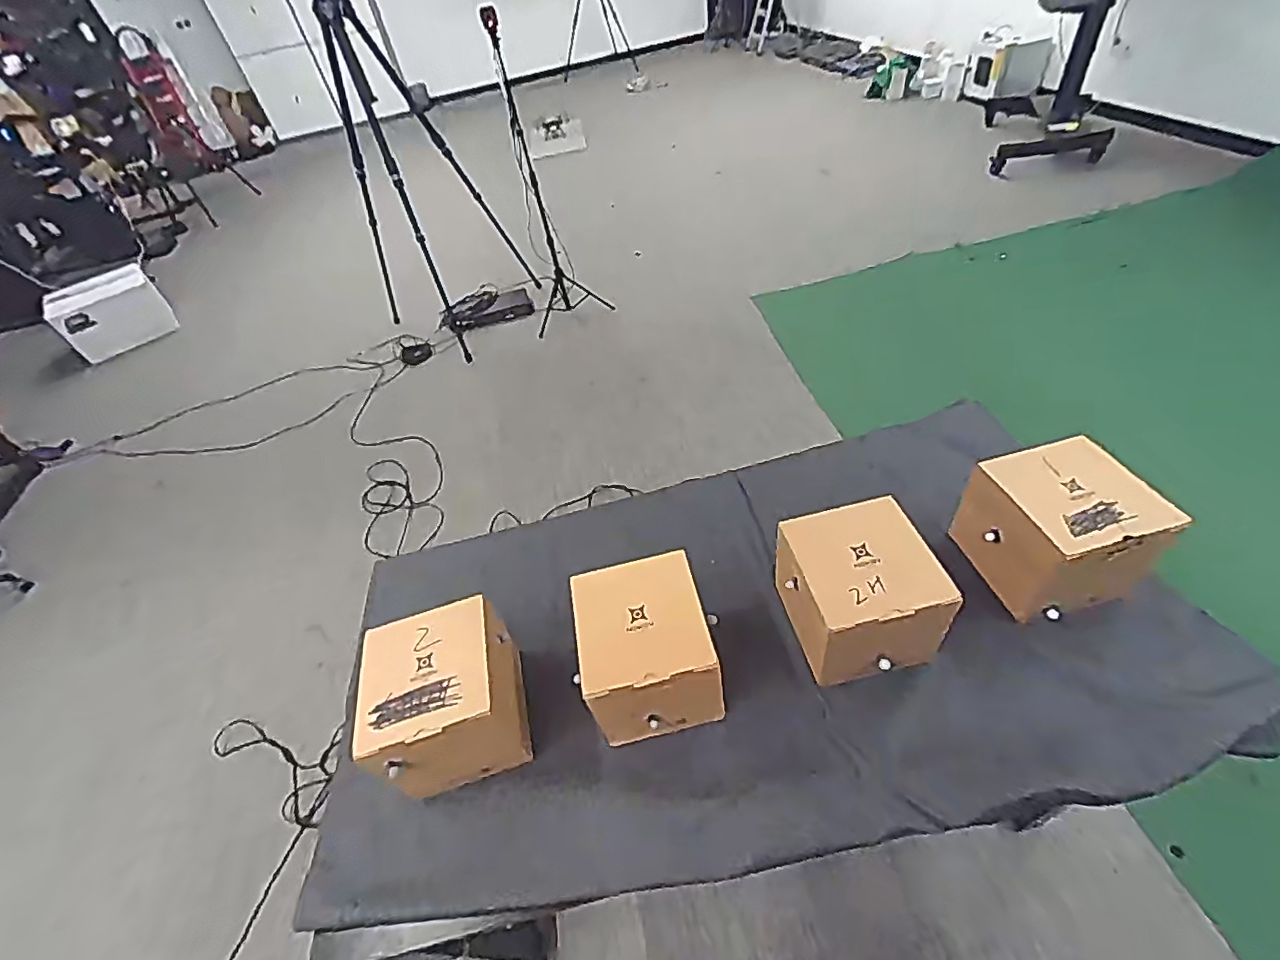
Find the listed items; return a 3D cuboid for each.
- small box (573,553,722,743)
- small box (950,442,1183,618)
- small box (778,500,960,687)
[{"bbox_3d":[0.010,0.233,0.747,0.168,0.176,0.179,-13,46,-2],"label":"small box"},{"bbox_3d":[0.587,0.078,0.777,0.168,0.176,0.179,-14,45,-2],"label":"small box"},{"bbox_3d":[0.300,0.159,0.757,0.168,0.176,0.179,-13,46,-1],"label":"small box"}]
